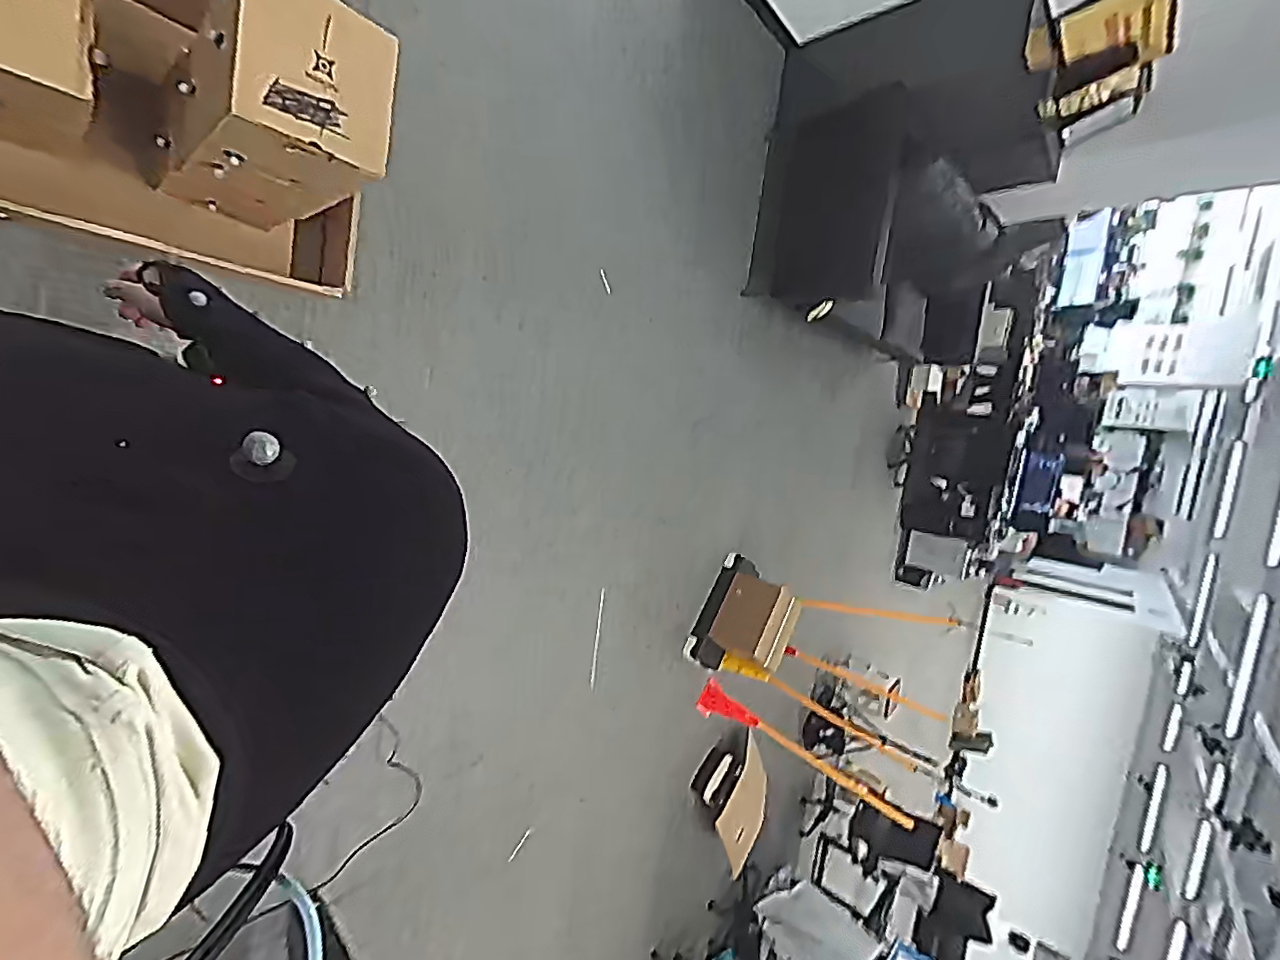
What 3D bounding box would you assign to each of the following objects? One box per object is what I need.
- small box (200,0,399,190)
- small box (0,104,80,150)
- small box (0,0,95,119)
[{"bbox_3d":[-0.429,-0.495,0.677,0.168,0.176,0.179,3,96,-49],"label":"small box"},{"bbox_3d":[-0.846,-0.555,0.692,0.179,0.176,0.168,1,99,-50],"label":"small box"},{"bbox_3d":[-0.724,-0.527,0.586,0.179,0.176,0.168,-1,101,-49],"label":"small box"}]
